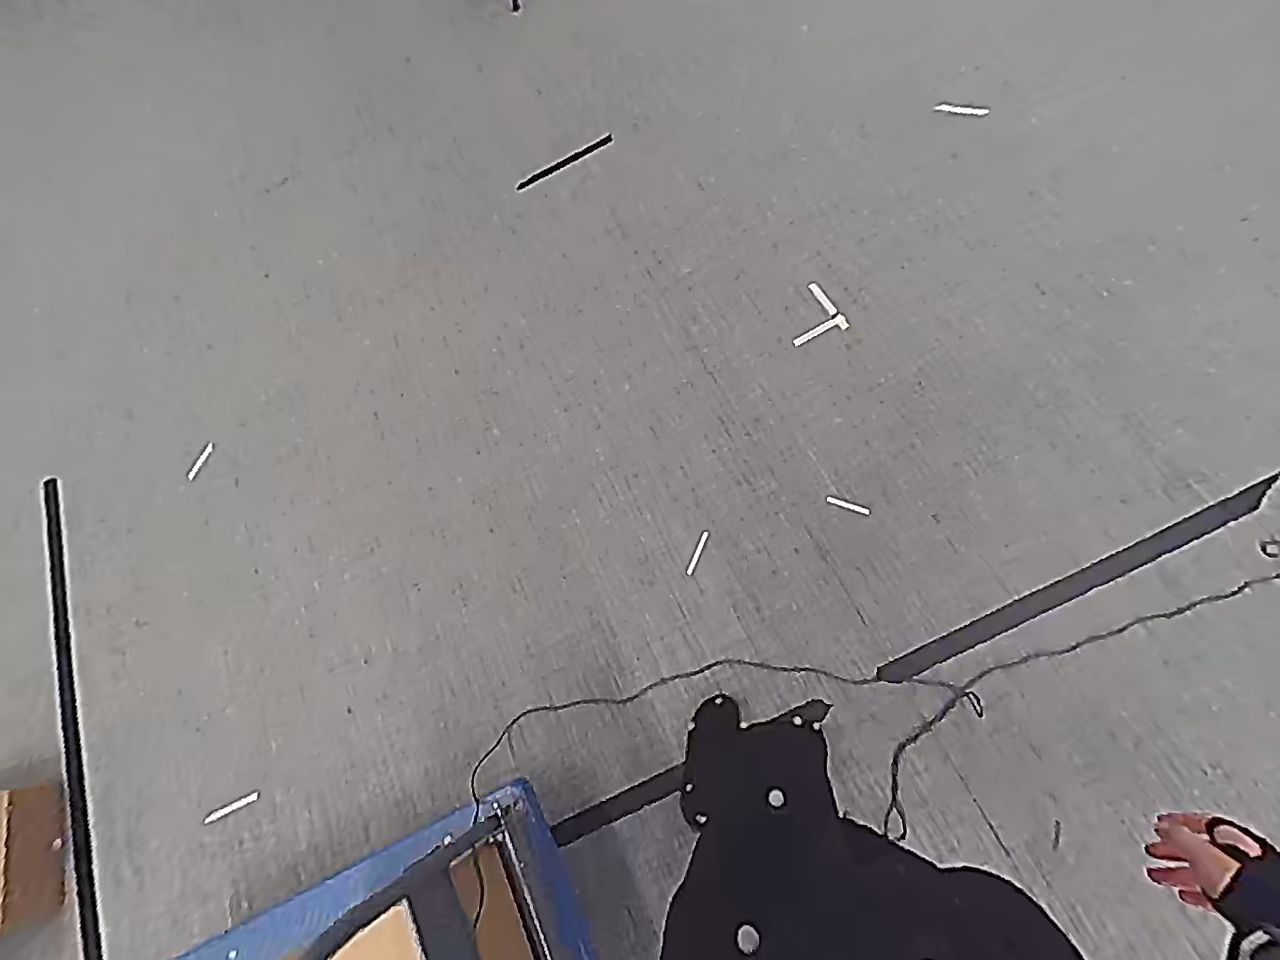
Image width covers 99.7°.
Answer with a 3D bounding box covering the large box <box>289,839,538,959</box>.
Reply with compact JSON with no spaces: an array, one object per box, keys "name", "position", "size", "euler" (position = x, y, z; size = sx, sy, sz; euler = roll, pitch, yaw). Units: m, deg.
[{"name":"large box","position":[-0.363,0.924,0.907],"size":[0.320,0.320,0.408],"euler":[-28,69,-1]}]
